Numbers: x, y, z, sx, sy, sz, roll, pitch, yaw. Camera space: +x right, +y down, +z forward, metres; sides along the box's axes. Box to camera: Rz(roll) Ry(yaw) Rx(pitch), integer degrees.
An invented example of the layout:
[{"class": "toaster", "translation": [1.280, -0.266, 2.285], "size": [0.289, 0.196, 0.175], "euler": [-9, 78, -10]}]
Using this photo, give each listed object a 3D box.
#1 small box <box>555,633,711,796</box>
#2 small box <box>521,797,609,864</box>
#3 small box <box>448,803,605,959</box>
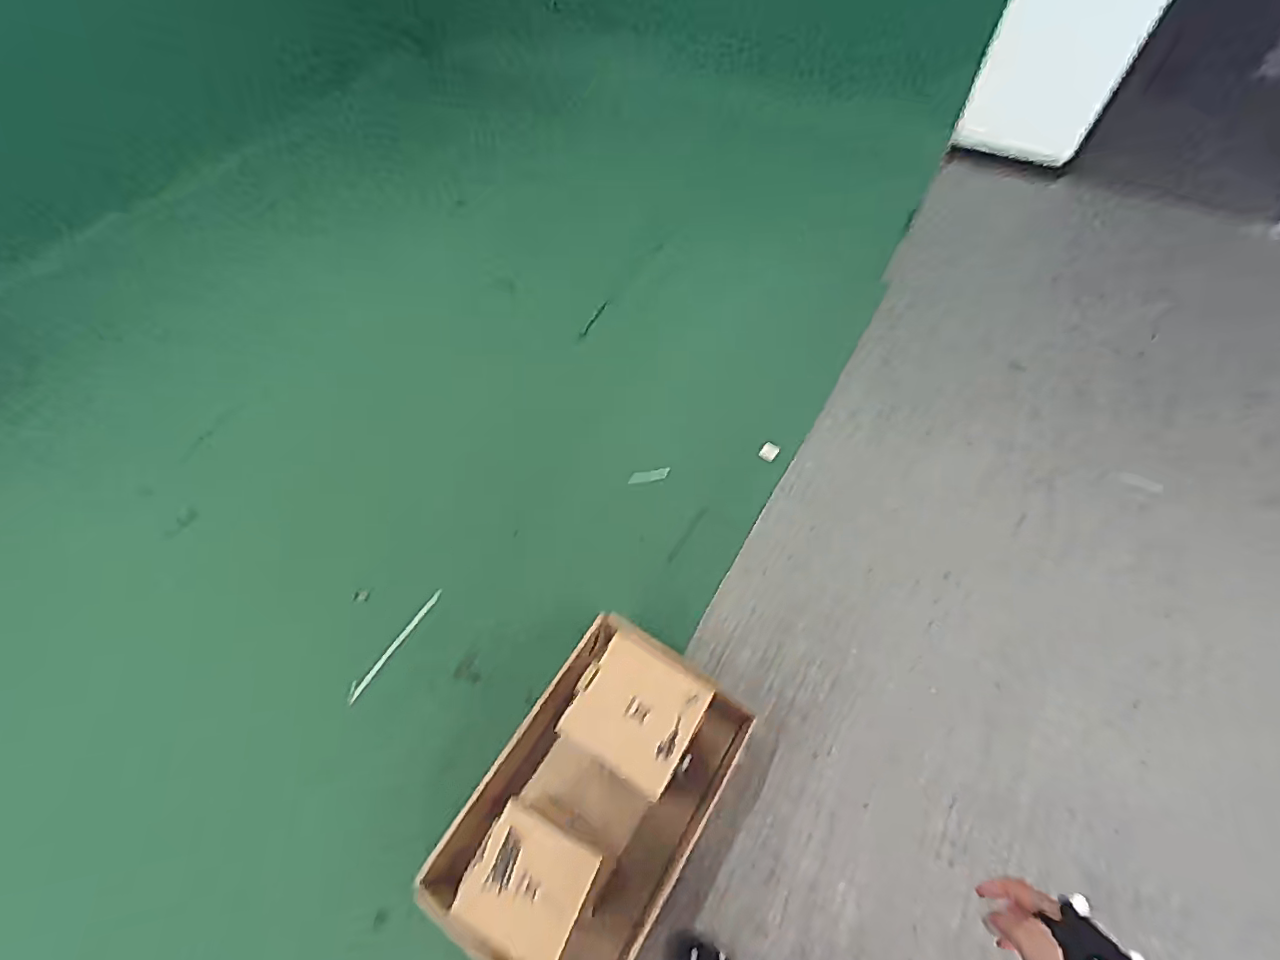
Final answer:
[{"class": "small box", "translation": [-0.006, 0.375, 0.854], "size": [0.179, 0.176, 0.168], "euler": [27, 64, 18]}, {"class": "small box", "translation": [-0.175, 0.735, 1.024], "size": [0.179, 0.176, 0.168], "euler": [25, 61, 16]}, {"class": "small box", "translation": [-0.172, 0.657, 0.879], "size": [0.179, 0.176, 0.168], "euler": [23, 61, 14]}]
